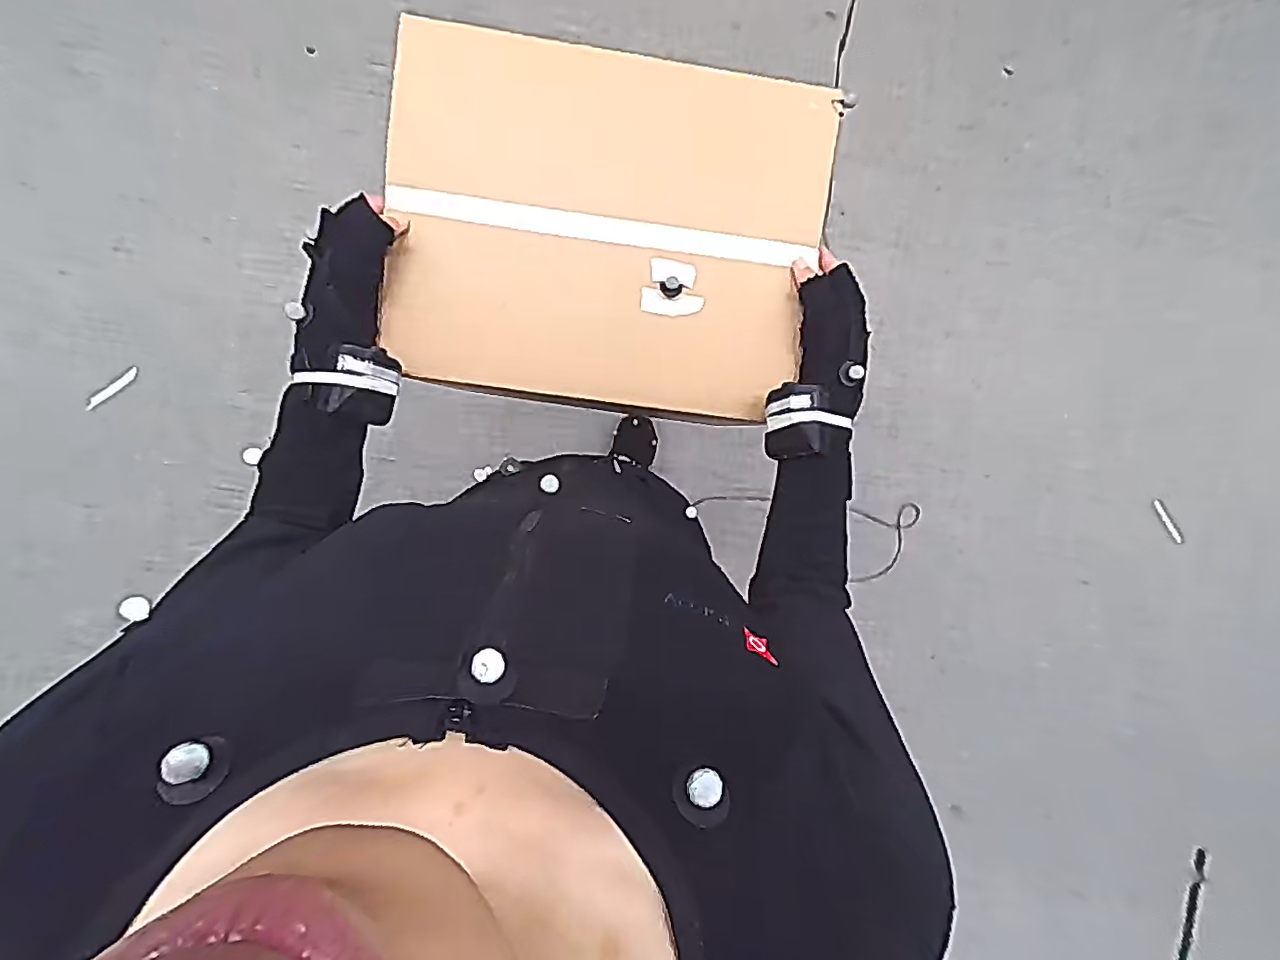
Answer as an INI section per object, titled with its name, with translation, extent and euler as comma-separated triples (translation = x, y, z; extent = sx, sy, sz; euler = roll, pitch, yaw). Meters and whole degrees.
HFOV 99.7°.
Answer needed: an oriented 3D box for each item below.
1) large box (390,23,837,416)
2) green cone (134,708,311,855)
[large box]
translation = -0.036, -0.255, 0.658
extent = 0.408, 0.320, 0.320
euler = 7, 96, -4
[green cone]
translation = -1.007, 0.736, 1.277
extent = 0.202, 0.368, 0.200
euler = -30, 91, 0
